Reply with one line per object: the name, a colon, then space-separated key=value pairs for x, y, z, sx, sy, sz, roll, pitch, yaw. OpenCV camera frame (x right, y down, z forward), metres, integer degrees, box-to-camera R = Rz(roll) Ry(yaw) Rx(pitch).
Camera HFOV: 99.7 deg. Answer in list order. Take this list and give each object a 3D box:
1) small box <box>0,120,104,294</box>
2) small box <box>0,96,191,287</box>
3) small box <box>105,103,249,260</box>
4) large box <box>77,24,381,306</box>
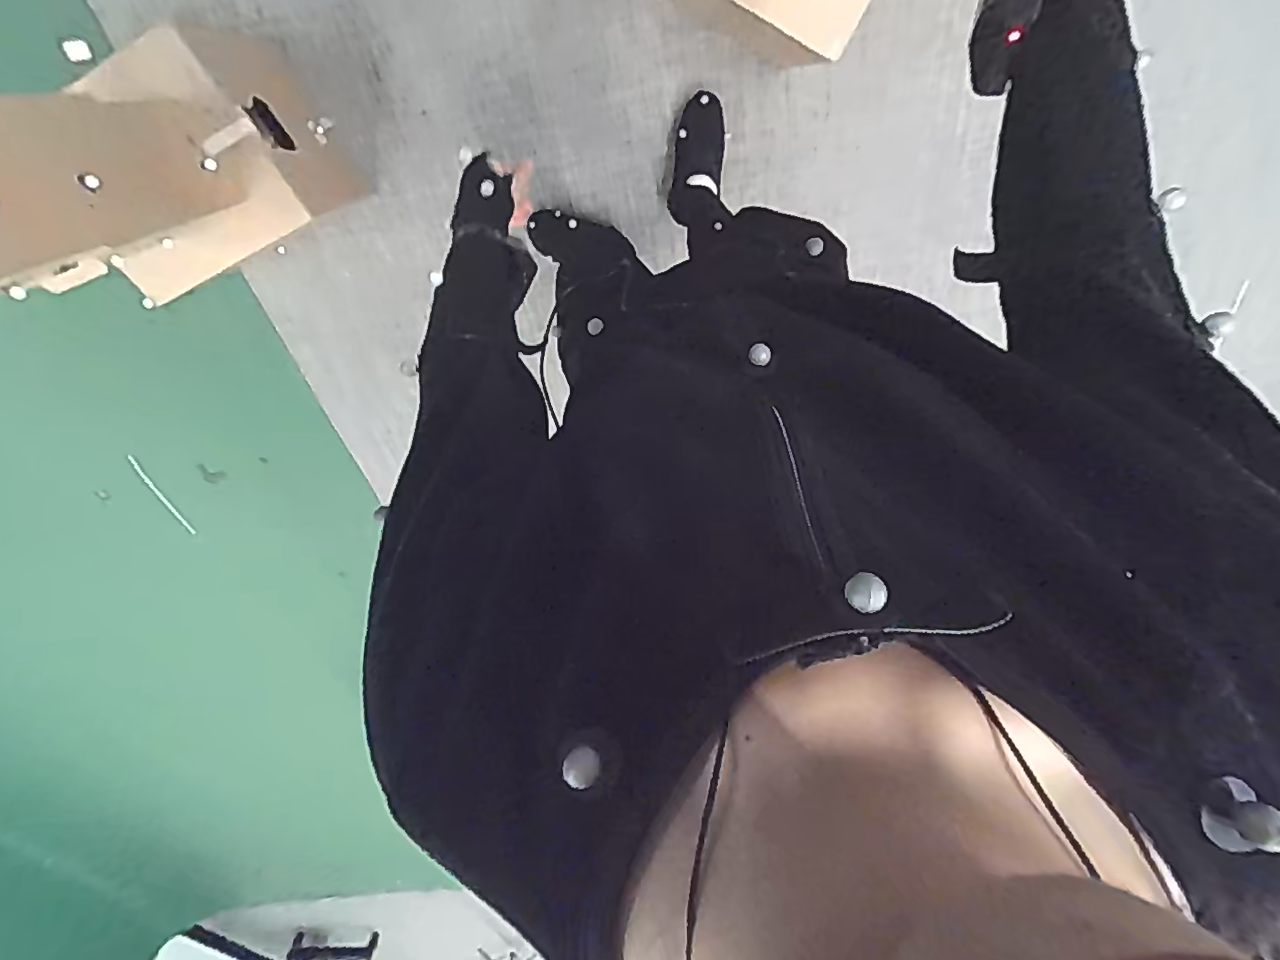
small box: x=-0.786 y=-0.301 z=0.605 sx=0.168 sy=0.176 sz=0.179 roll=-17 pitch=126 yaw=10
small box: x=-0.785 y=-0.396 z=0.739 sx=0.168 sy=0.176 sz=0.179 roll=-16 pitch=125 yaw=10
small box: x=-0.797 y=-0.485 z=0.877 sx=0.179 sy=0.176 sz=0.168 roll=-18 pitch=125 yaw=11
large box: x=-0.826 y=-0.617 z=1.083 sx=0.408 sy=0.320 sz=0.320 roll=-20 pitch=122 yaw=14
